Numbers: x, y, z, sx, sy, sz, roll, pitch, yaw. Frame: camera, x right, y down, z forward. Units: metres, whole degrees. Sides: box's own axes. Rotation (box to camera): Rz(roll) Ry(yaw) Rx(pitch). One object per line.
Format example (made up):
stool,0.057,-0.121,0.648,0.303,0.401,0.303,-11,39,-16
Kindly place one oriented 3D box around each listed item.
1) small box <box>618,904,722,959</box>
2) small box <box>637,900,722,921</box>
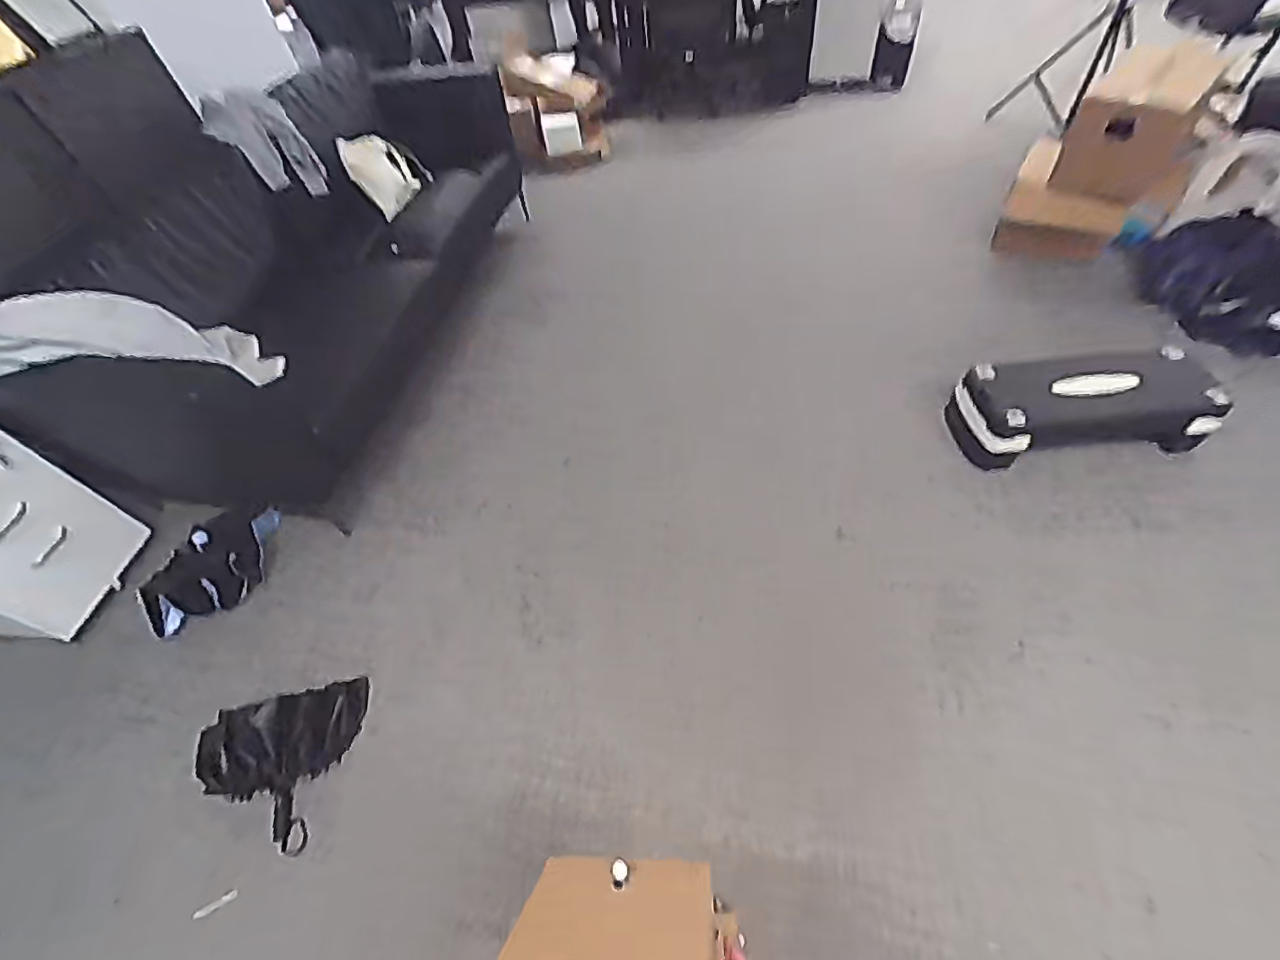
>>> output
small box,0.050,0.830,0.902,0.168,0.176,0.179,2,53,9
small box,0.069,0.925,1.036,0.168,0.176,0.179,2,54,10
